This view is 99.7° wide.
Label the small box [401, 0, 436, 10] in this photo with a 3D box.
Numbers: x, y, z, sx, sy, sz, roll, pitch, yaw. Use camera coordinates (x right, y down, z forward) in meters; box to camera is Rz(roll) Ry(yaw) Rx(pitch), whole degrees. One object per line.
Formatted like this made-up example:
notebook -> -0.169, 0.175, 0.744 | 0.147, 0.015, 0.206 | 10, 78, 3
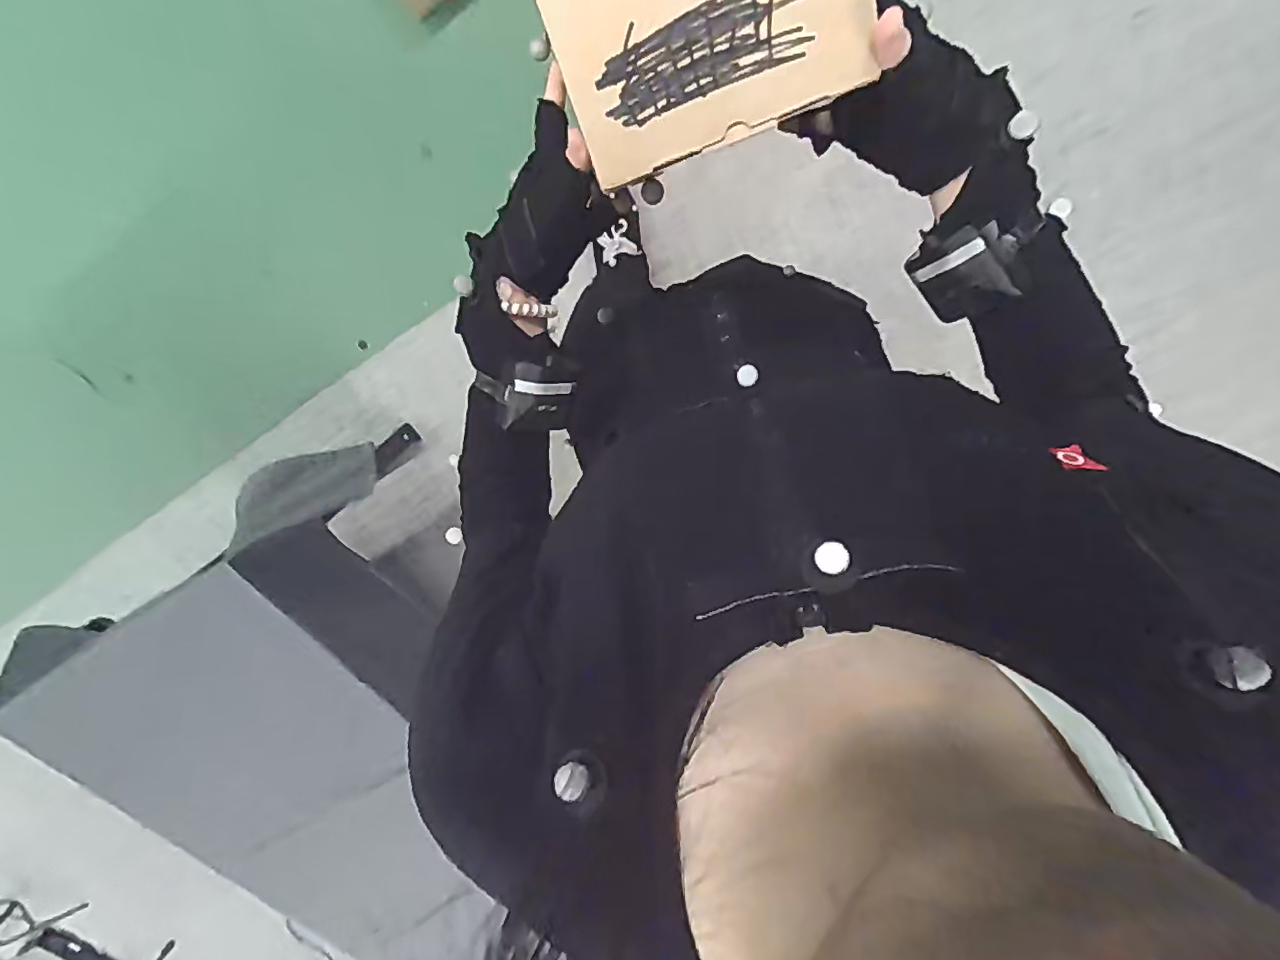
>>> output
small box -> -0.432, -1.023, 0.998 | 0.168, 0.176, 0.179 | -31, 112, 12
